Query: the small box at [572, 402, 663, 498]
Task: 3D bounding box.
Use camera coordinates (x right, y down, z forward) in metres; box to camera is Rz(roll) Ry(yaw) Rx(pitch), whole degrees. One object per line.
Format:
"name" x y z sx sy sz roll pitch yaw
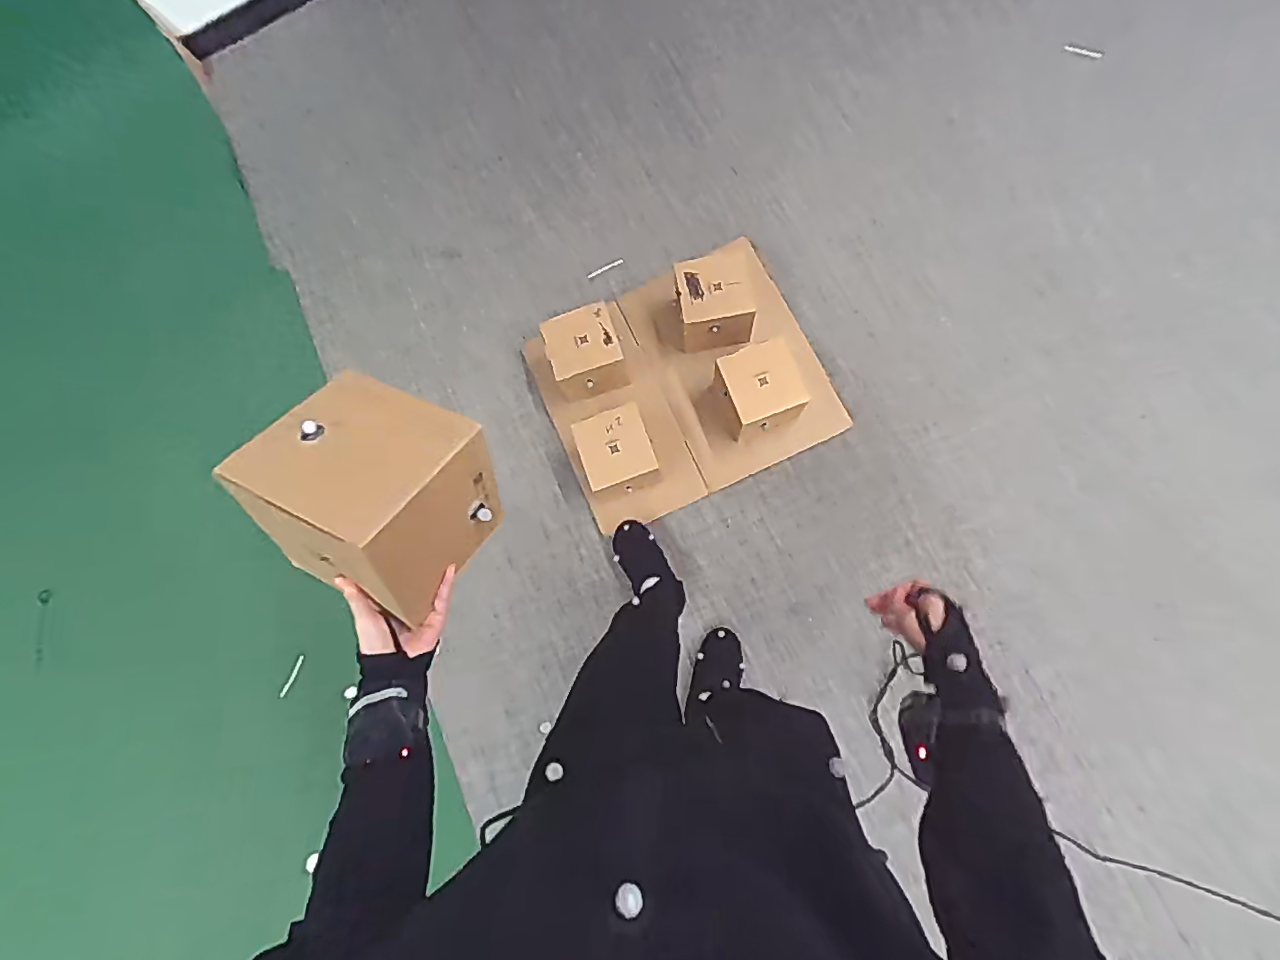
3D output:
"small box" -0.049 -0.063 1.327 0.168 0.176 0.179 -20 78 2

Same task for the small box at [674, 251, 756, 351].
"small box" 0.187 -0.443 1.364 0.179 0.176 0.168 -9 79 4

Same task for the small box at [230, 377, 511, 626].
"small box" -0.262 0.015 0.572 0.179 0.168 0.176 23 52 14

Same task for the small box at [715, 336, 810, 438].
"small box" 0.290 -0.213 1.311 0.168 0.176 0.179 -21 77 2

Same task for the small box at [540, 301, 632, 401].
"small box" -0.133 -0.321 1.385 0.179 0.176 0.168 -19 78 3
